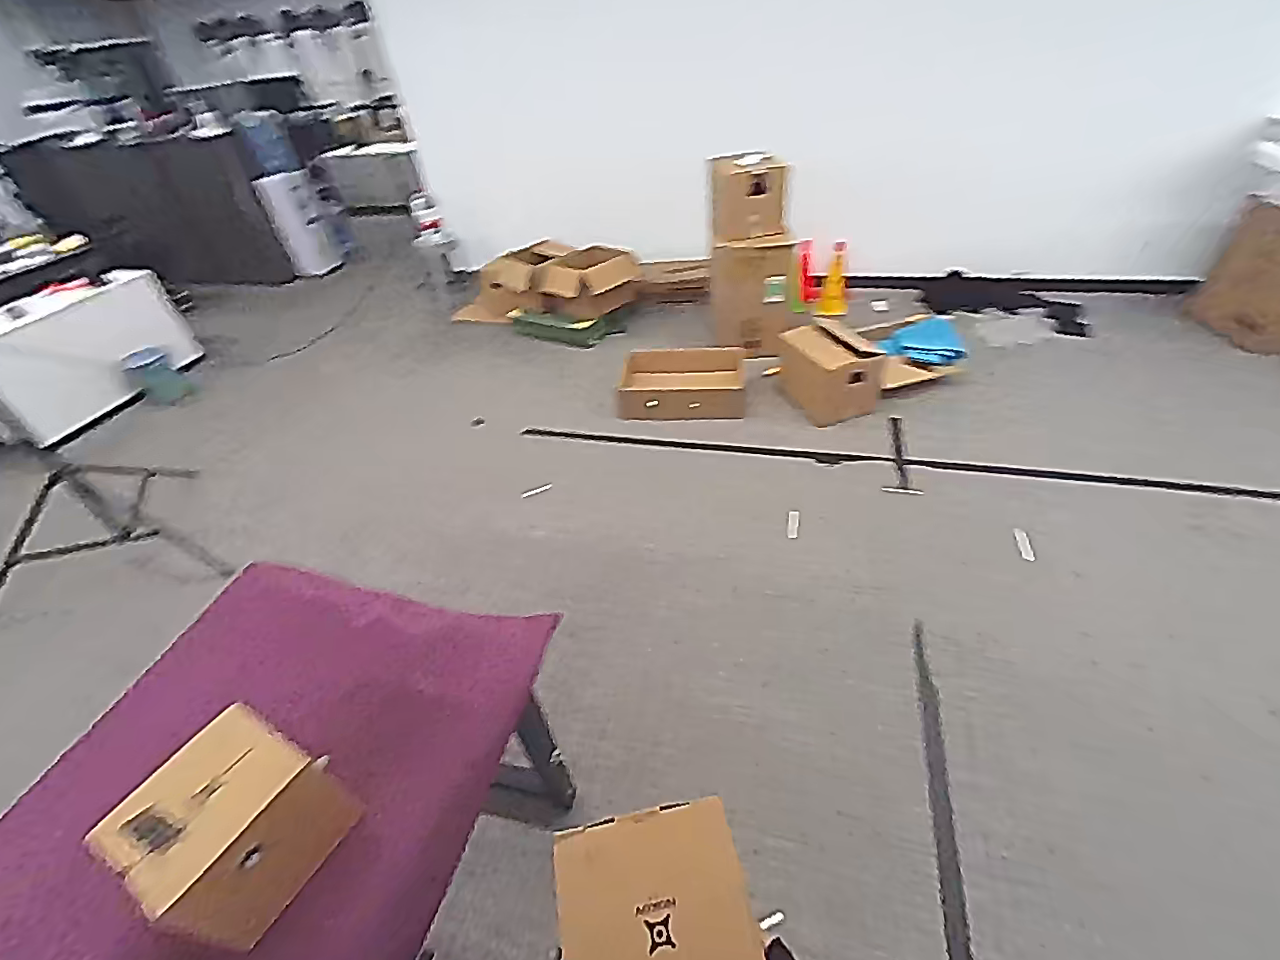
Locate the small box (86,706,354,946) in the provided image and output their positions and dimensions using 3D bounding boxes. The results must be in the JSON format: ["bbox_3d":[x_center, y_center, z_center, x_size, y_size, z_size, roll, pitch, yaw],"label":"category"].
[{"bbox_3d":[-0.506,0.431,0.678,0.168,0.176,0.179,16,44,25],"label":"small box"}]

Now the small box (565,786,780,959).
[{"bbox_3d":[0.024,0.422,0.509,0.168,0.176,0.179,-9,46,-8],"label":"small box"}]
